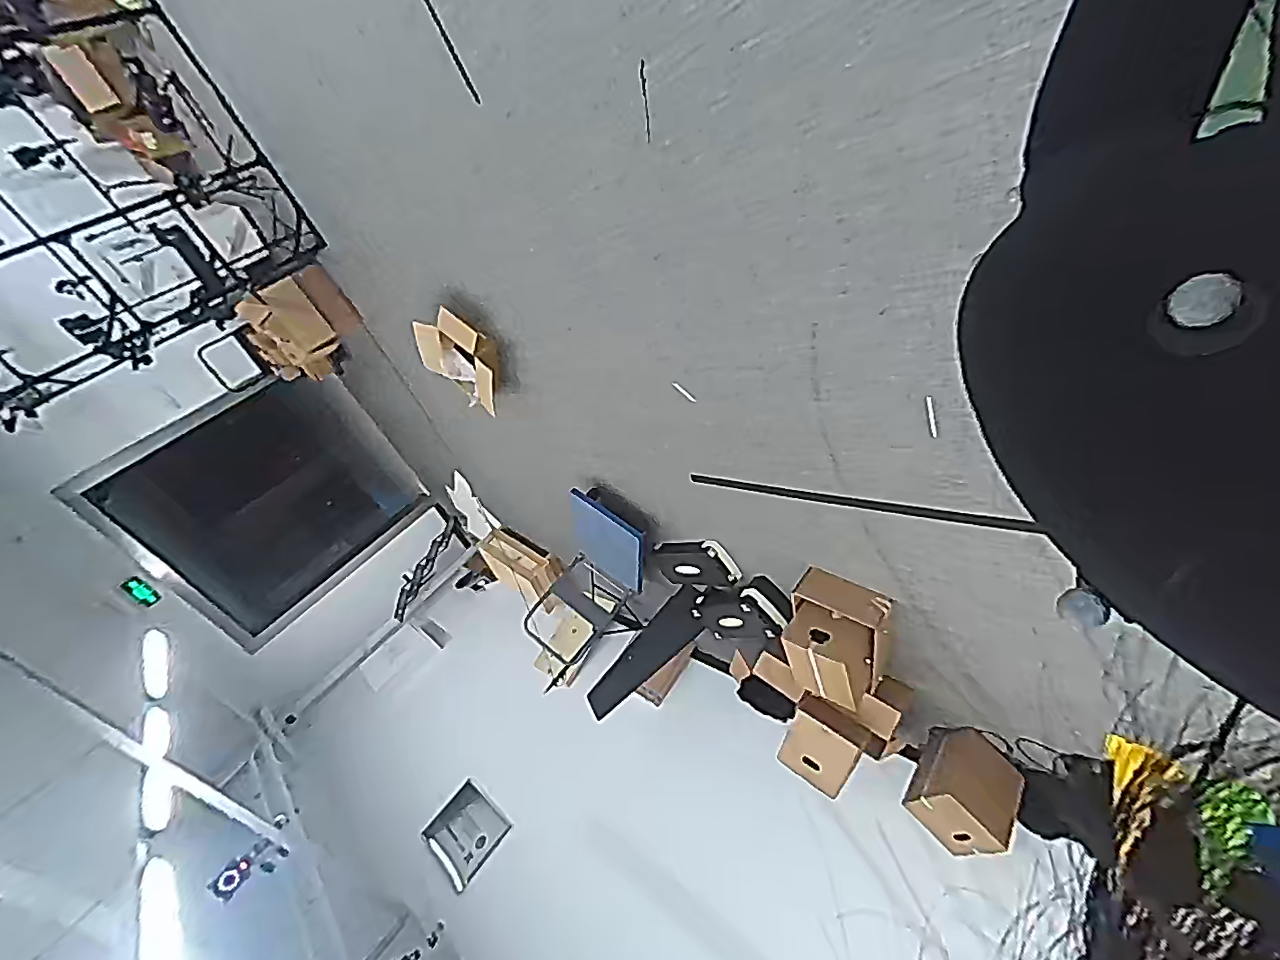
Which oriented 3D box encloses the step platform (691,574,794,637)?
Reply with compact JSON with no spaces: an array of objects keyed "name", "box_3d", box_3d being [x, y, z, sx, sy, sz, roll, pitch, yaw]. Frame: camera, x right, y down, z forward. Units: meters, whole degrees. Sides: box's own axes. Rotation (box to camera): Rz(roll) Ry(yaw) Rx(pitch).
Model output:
[{"name":"step platform","box_3d":[0.577,0.755,3.183,0.286,0.204,0.684,46,151,-4]}]
